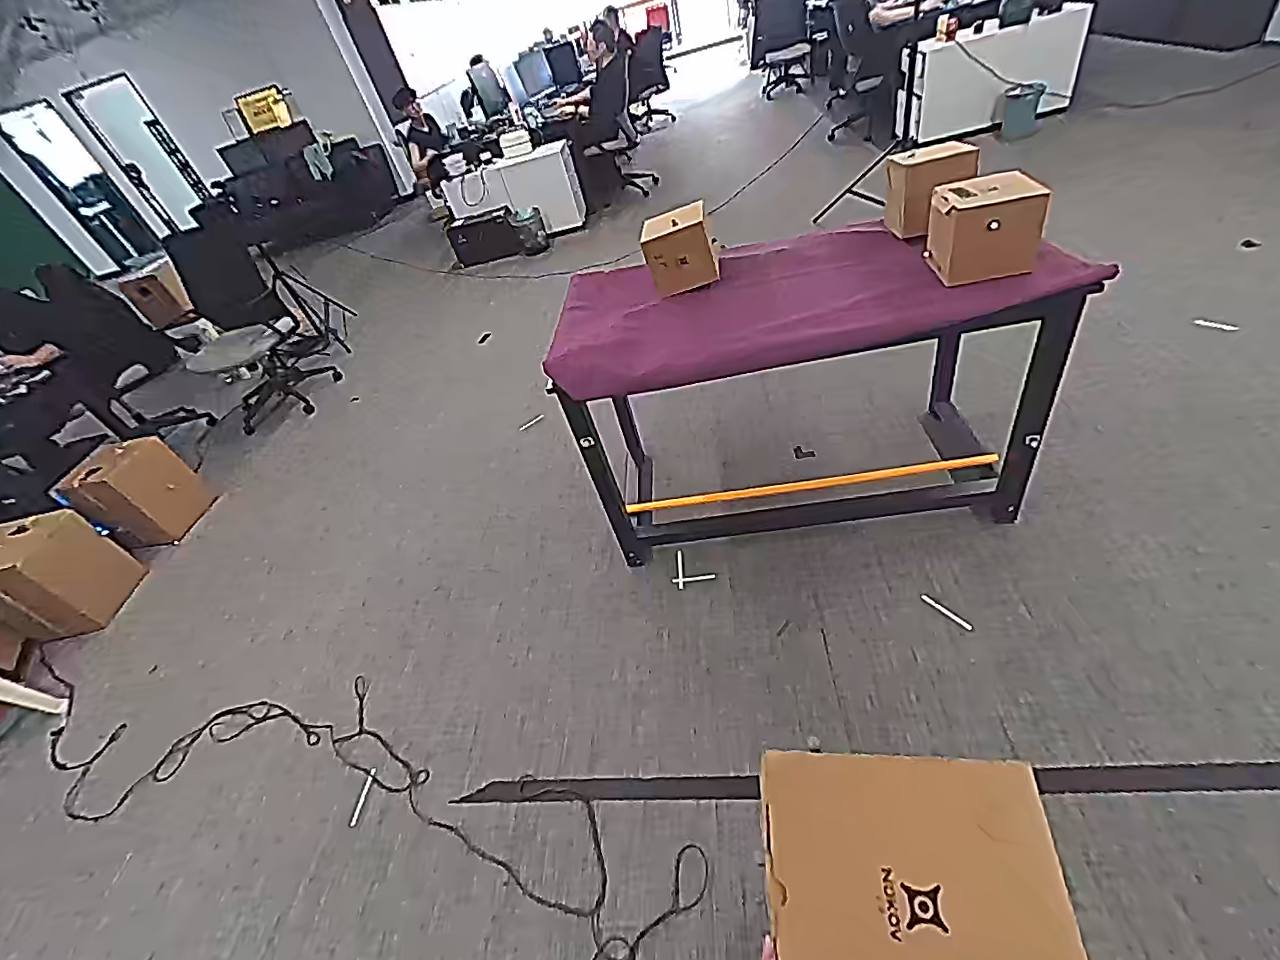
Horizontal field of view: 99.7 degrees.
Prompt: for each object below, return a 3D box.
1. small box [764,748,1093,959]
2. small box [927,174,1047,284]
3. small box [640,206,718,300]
[{"bbox_3d":[0.185,0.297,0.395,0.179,0.176,0.168,-4,58,11],"label":"small box"},{"bbox_3d":[0.758,-0.555,1.207,0.179,0.176,0.168,-7,41,12],"label":"small box"},{"bbox_3d":[0.113,-0.638,1.512,0.179,0.168,0.176,-12,40,18],"label":"small box"}]
